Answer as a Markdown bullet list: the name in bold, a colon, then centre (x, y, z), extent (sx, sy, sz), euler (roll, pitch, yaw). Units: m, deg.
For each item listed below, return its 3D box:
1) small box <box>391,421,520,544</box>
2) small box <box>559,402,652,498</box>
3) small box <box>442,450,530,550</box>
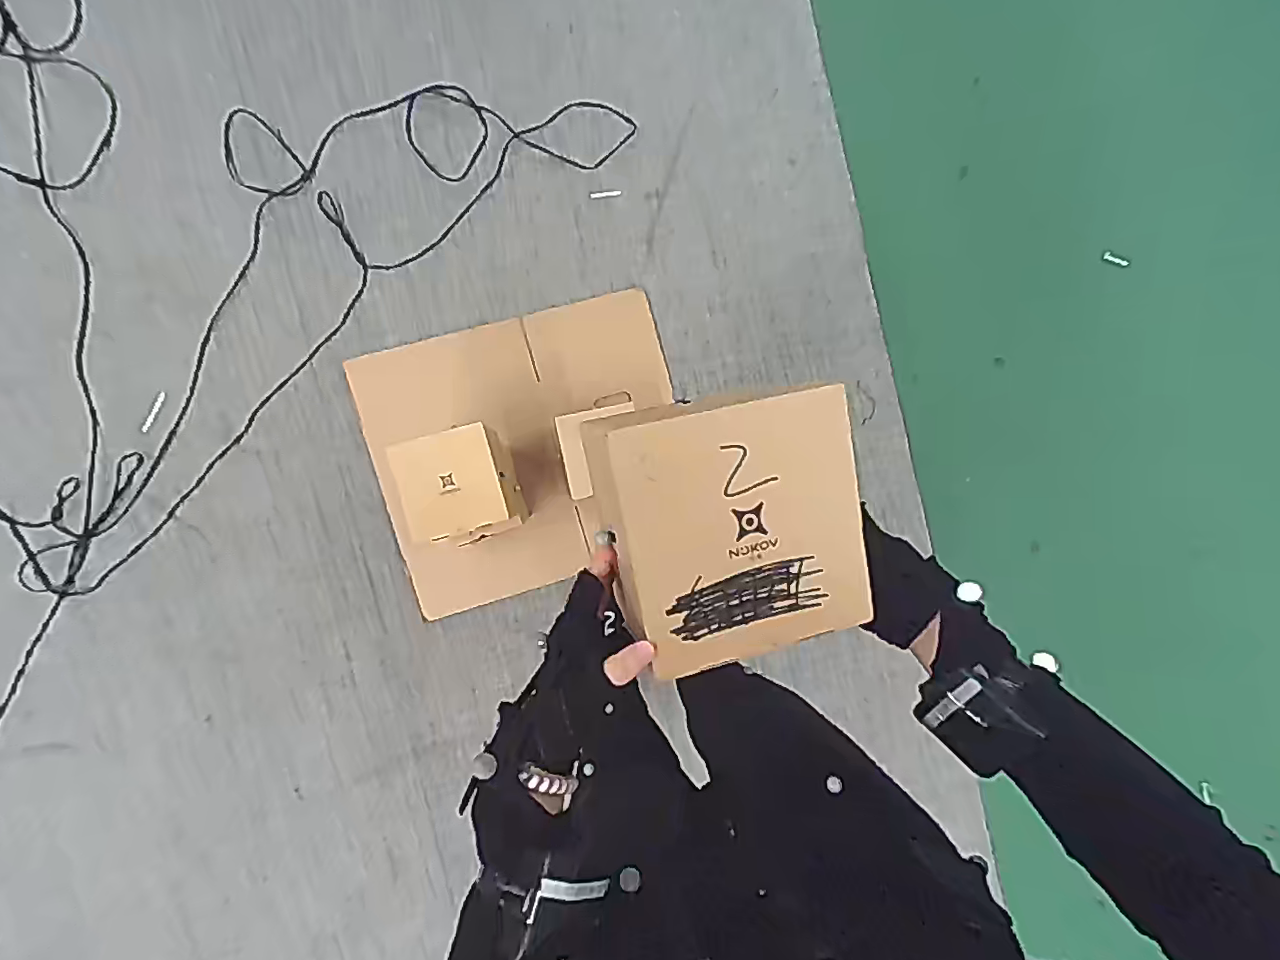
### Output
- **small box**: centre (-0.324, 0.004, 0.984), extent (0.168, 0.176, 0.179), euler (-16, 93, -7)
- **small box**: centre (-0.079, -0.062, 1.179), extent (0.168, 0.176, 0.179), euler (-12, 93, -6)
- **small box**: centre (-0.341, 0.031, 1.146), extent (0.168, 0.176, 0.179), euler (-19, 93, -6)
